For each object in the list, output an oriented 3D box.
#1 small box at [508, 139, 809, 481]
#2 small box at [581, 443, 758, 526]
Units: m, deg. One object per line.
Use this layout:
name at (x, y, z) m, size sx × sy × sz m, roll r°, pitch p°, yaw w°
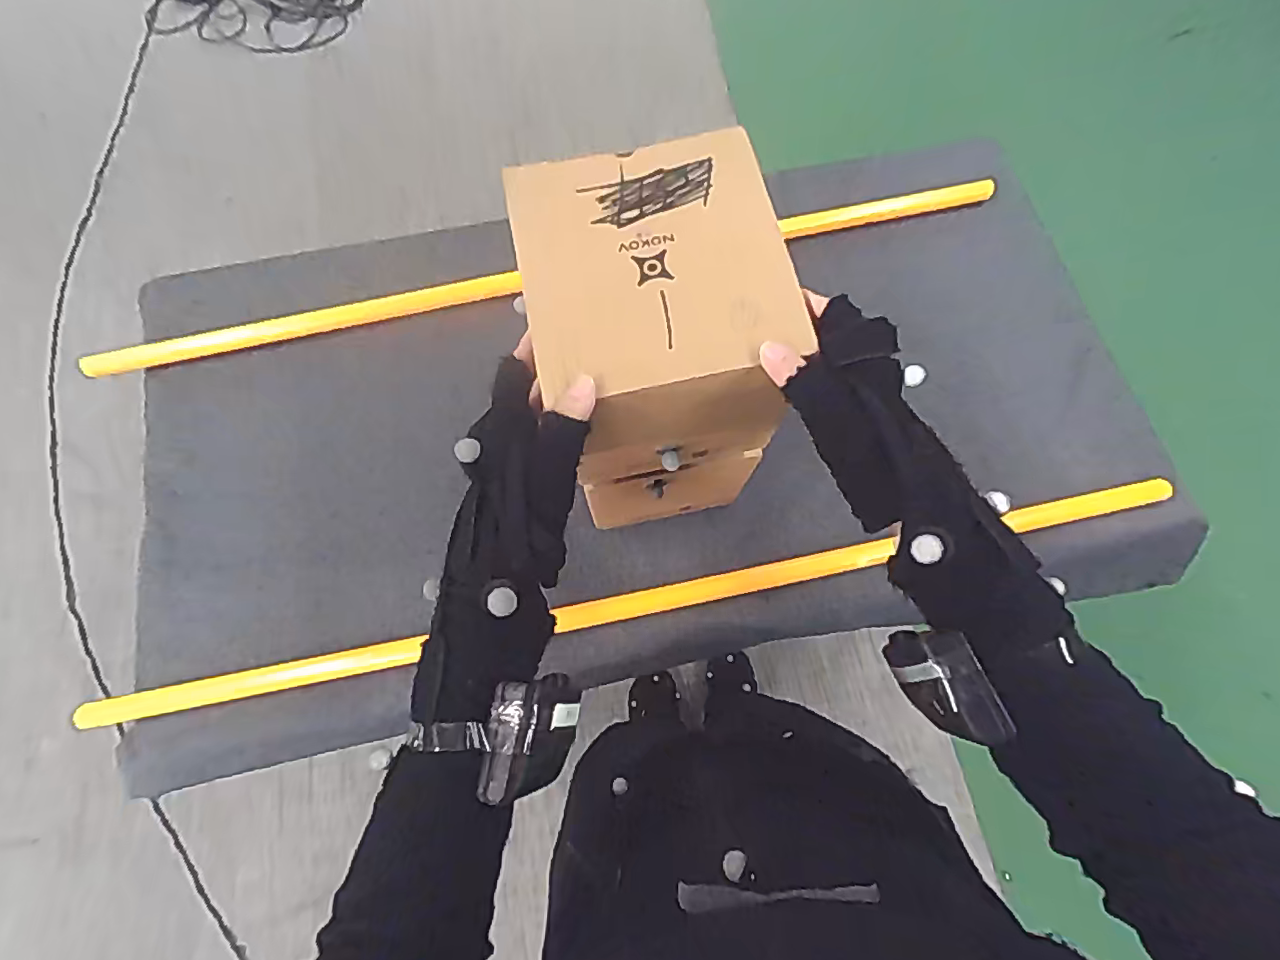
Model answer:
small box at (0.007, -0.115, 0.420) m, size 0.168 × 0.176 × 0.179 m, roll -12°, pitch 74°, yaw -1°
small box at (0.012, -0.064, 0.591) m, size 0.168 × 0.176 × 0.179 m, roll -12°, pitch 72°, yaw -3°
